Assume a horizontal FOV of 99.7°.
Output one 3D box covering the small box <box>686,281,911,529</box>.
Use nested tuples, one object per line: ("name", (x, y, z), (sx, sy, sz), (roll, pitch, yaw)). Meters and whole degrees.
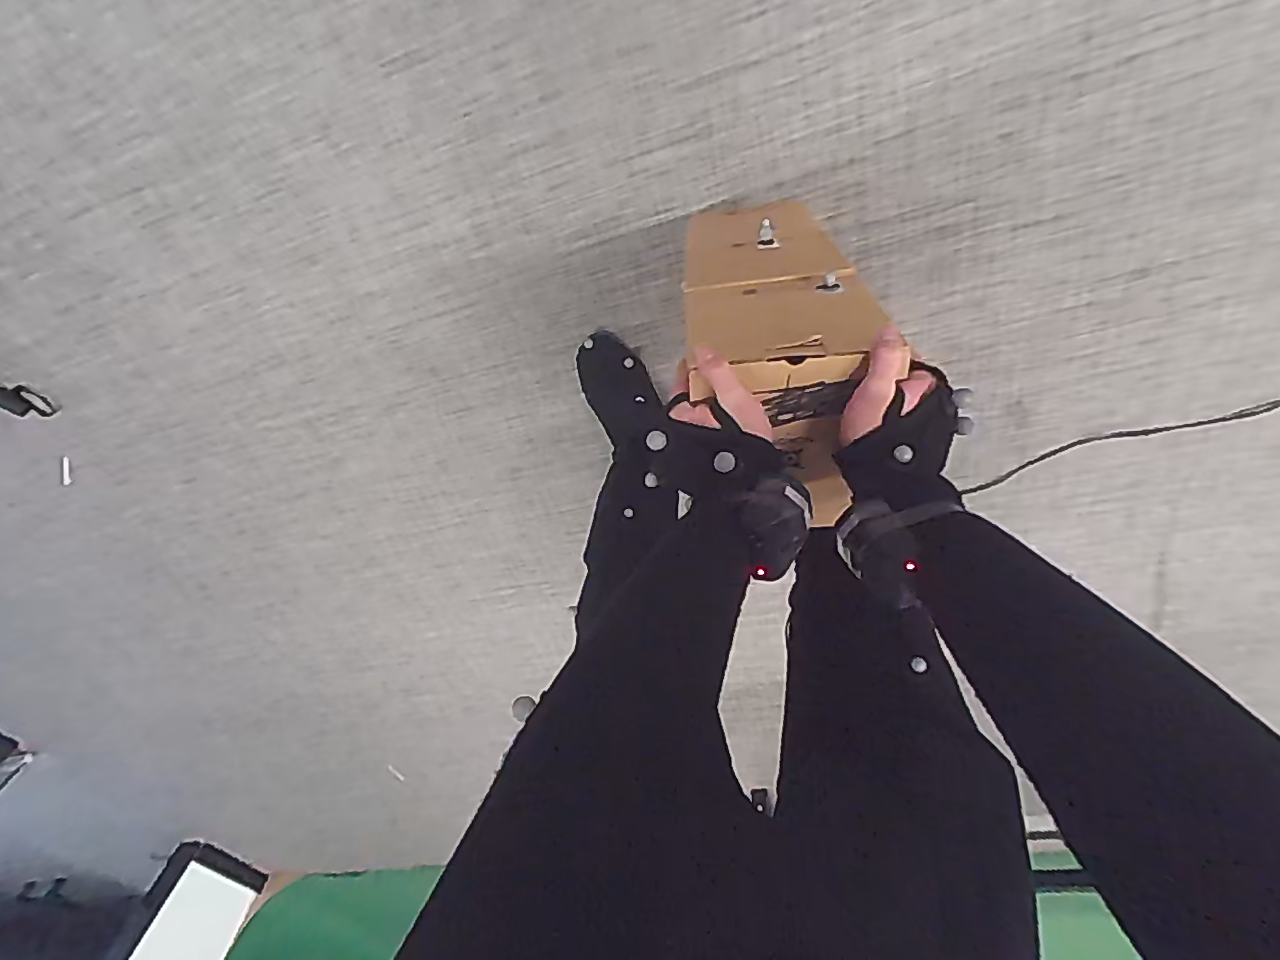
("small box", (0.130, -0.076, 0.511), (0.168, 0.176, 0.179), (-3, 129, 8))

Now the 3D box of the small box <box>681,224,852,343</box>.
("small box", (0.140, -0.180, 0.636), (0.168, 0.176, 0.179), (-5, 127, 9))

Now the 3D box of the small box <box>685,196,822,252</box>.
("small box", (0.154, -0.279, 0.762), (0.168, 0.176, 0.179), (-3, 128, 9))
